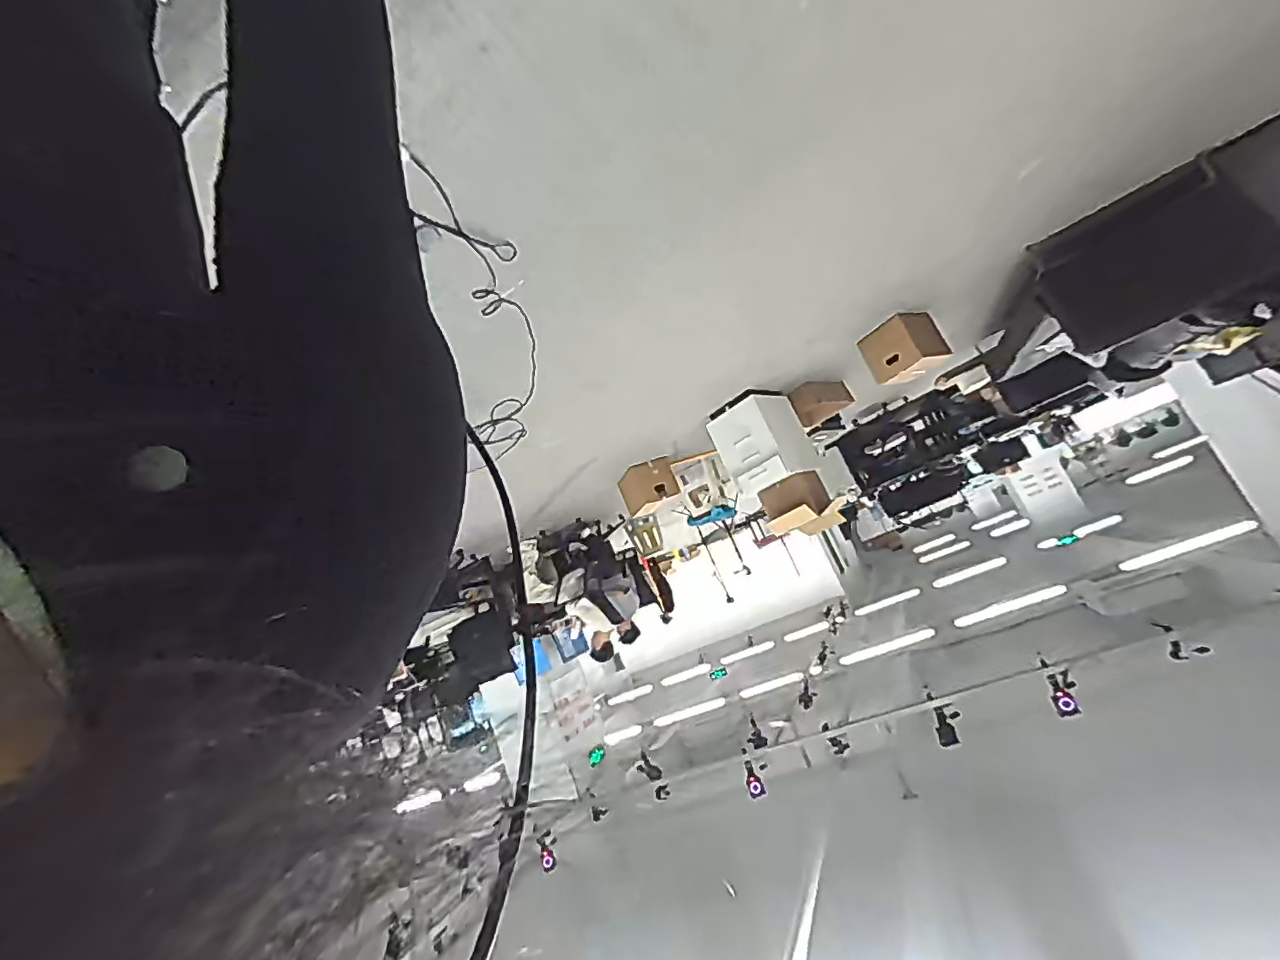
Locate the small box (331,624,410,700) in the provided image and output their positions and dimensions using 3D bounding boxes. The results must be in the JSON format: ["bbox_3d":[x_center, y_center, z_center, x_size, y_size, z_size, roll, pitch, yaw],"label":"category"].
[{"bbox_3d":[-0.825,0.558,1.666,0.179,0.176,0.168,-18,167,-26],"label":"small box"}]
